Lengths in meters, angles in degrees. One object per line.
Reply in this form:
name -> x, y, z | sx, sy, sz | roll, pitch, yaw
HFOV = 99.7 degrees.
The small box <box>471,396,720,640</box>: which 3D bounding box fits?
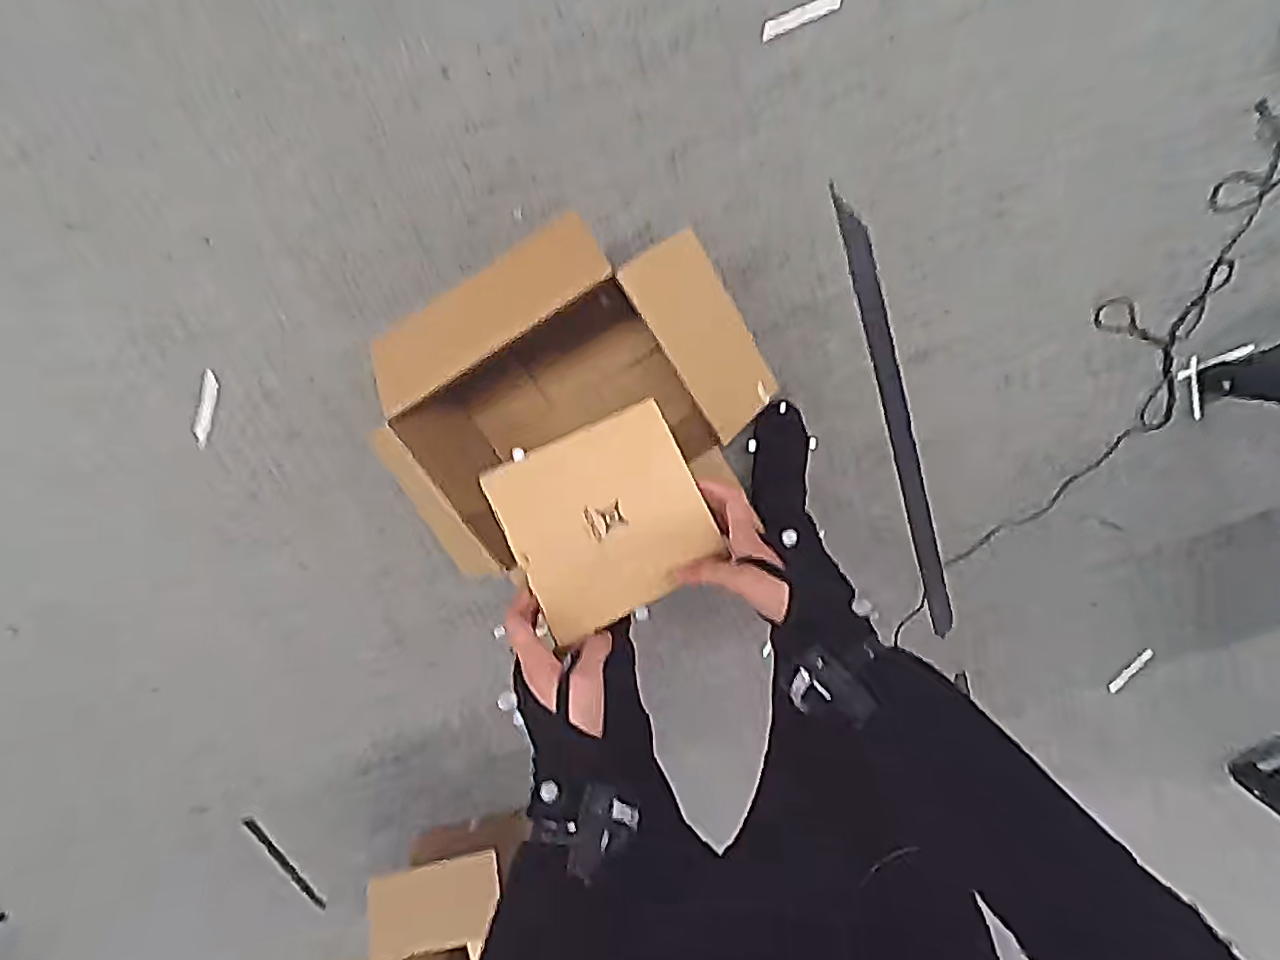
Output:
small box -> -0.046, 0.037, 0.558 | 0.179, 0.176, 0.168 | -26, 87, -7
